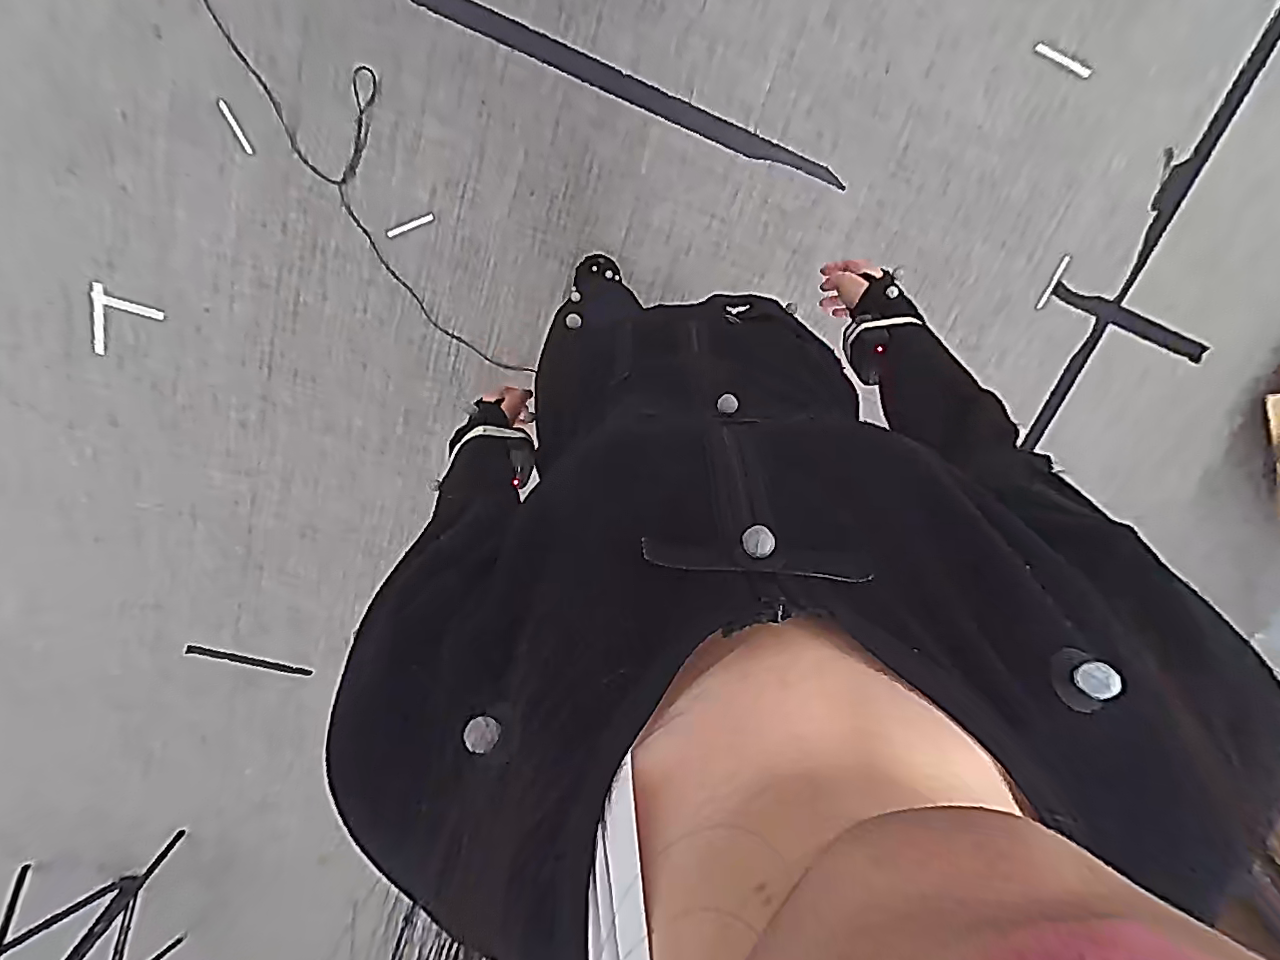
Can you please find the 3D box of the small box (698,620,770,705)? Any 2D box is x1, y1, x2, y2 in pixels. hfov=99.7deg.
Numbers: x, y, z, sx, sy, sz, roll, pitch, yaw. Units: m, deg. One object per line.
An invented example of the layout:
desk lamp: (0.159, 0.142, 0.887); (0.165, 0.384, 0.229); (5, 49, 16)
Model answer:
small box: (0.288, 0.561, 1.693); (0.168, 0.176, 0.179); (-18, 112, 4)
